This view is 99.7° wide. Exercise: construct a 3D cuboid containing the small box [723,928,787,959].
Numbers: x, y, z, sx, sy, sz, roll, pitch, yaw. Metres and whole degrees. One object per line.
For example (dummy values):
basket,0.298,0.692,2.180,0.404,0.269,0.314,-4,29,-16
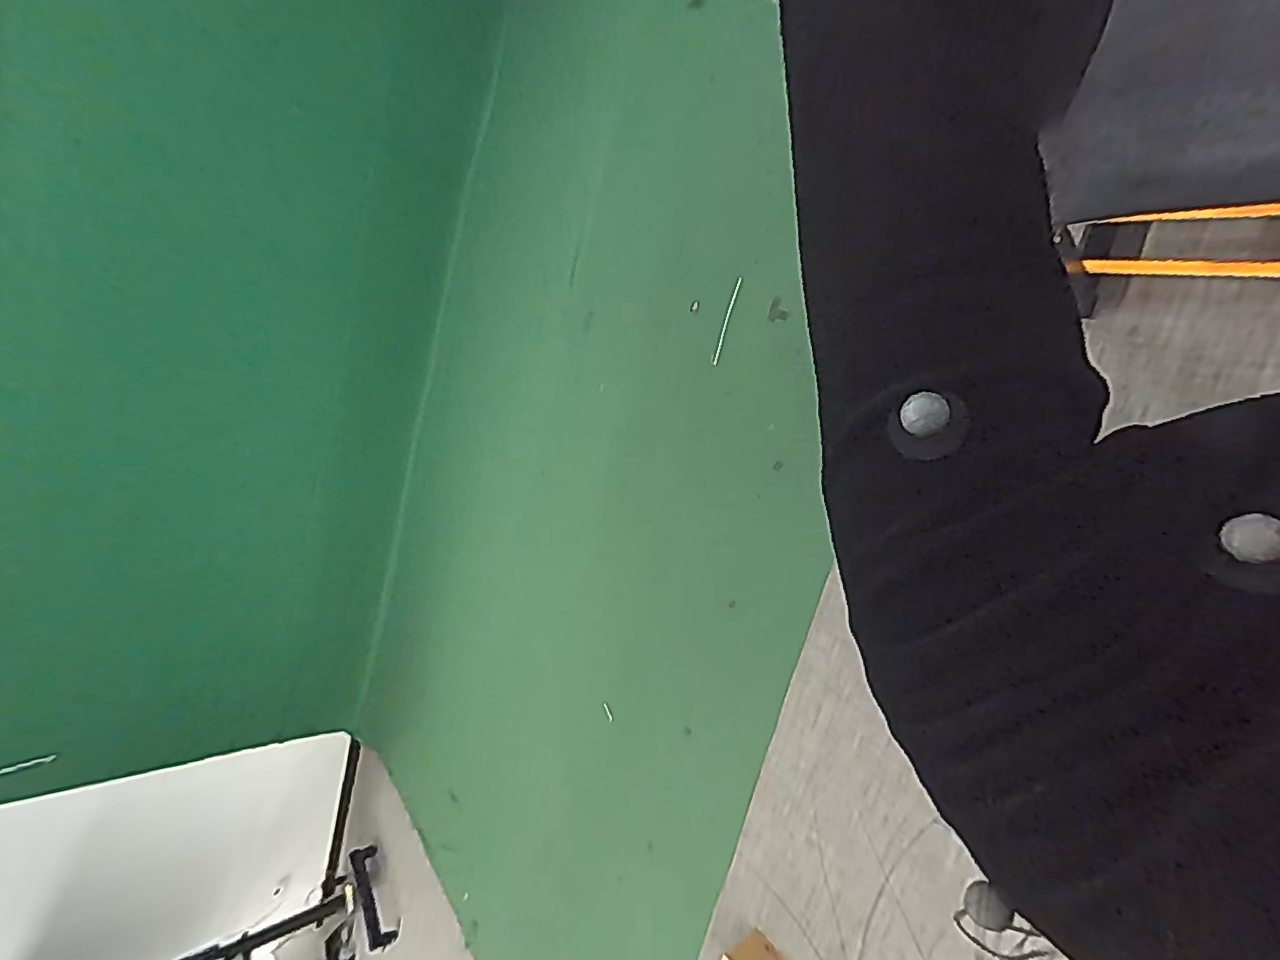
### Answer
small box,0.338,1.475,1.579,0.168,0.176,0.179,25,104,45
